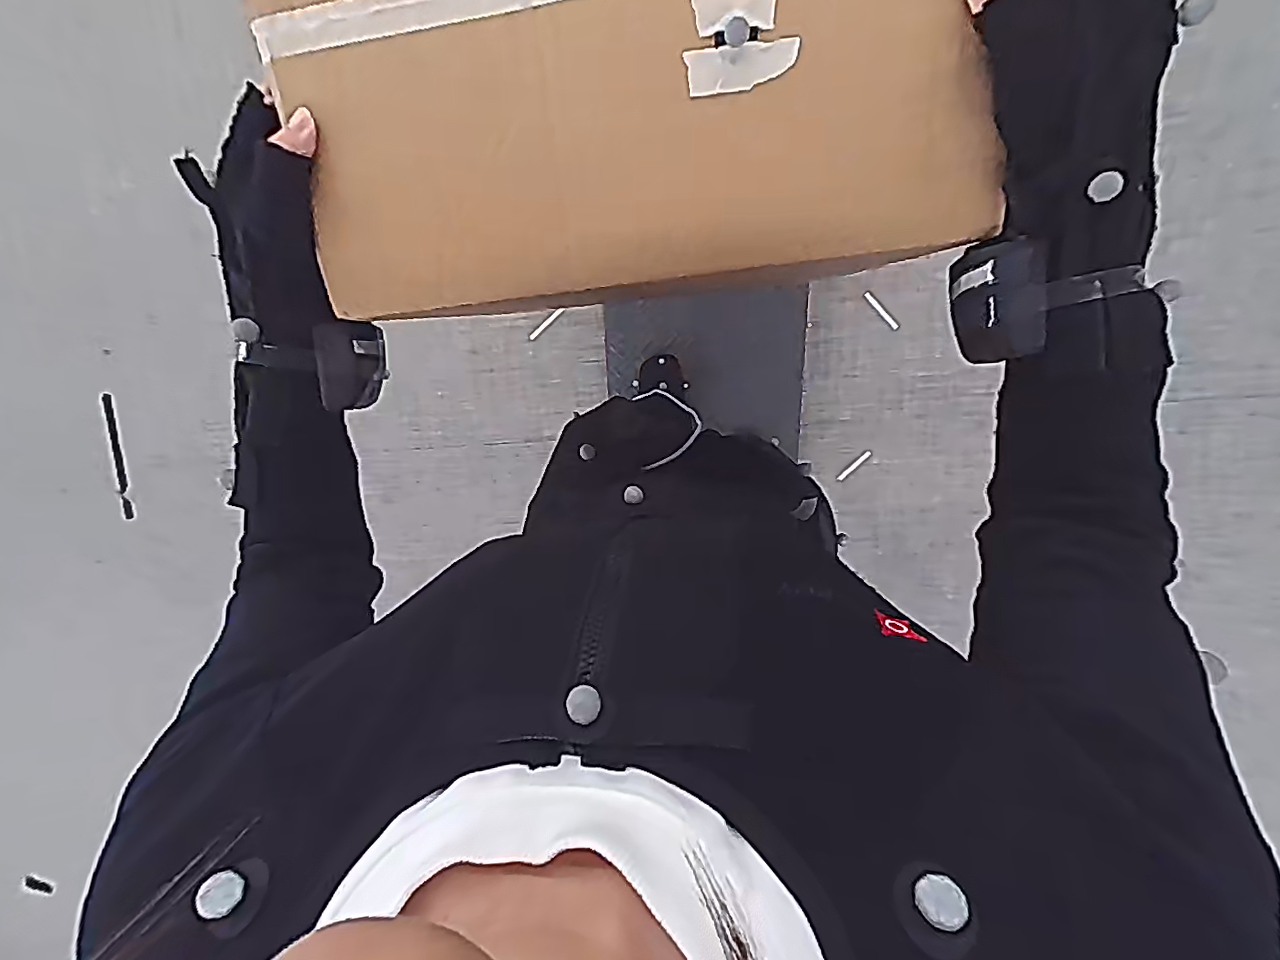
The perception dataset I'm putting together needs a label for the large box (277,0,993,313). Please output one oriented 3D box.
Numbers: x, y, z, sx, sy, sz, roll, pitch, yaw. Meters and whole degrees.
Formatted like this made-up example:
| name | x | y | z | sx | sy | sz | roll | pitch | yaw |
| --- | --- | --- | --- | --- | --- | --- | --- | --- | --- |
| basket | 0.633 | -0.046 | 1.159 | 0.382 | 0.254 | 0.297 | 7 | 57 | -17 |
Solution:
| name | x | y | z | sx | sy | sz | roll | pitch | yaw |
| --- | --- | --- | --- | --- | --- | --- | --- | --- | --- |
| large box | -0.001 | -0.322 | 0.437 | 0.408 | 0.320 | 0.320 | -5 | 108 | 8 |
